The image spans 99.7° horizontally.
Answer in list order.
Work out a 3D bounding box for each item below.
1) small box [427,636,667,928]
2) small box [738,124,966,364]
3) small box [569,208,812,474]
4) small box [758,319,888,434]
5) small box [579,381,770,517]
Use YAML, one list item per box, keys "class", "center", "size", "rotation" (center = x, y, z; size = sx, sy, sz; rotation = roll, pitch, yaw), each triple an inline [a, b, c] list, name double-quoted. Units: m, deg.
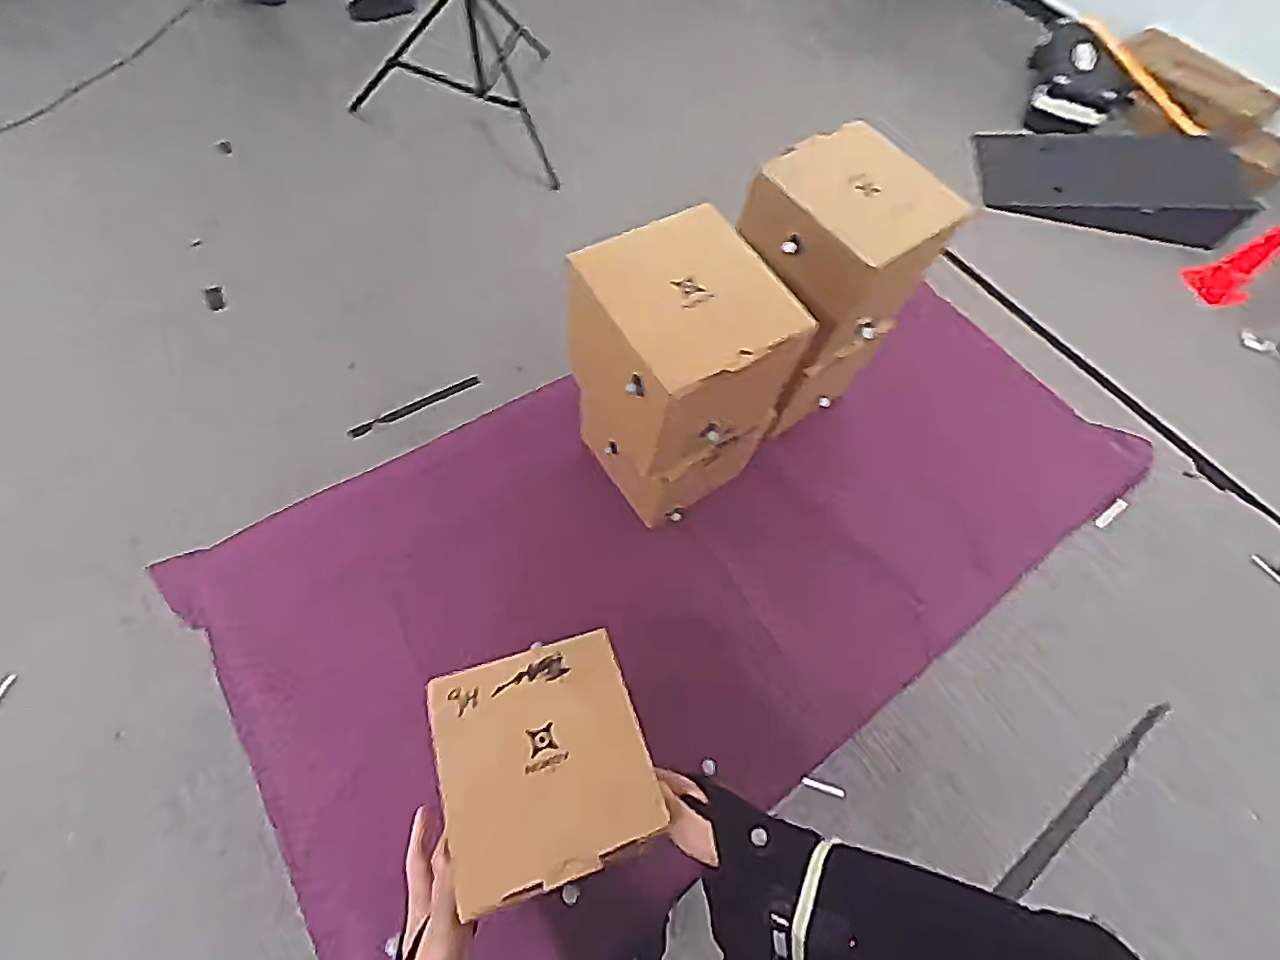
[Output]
- class: "small box"
  center: [-0.089, 0.278, 0.508]
  size: [0.168, 0.176, 0.179]
  rotation: [-13, 55, -18]
- class: "small box"
  center: [0.227, -0.275, 0.650]
  size: [0.168, 0.176, 0.179]
  rotation: [-34, 74, -18]
- class: "small box"
  center: [0.036, -0.137, 0.564]
  size: [0.168, 0.176, 0.179]
  rotation: [-29, 72, -18]
- class: "small box"
  center: [0.210, -0.200, 0.793]
  size: [0.168, 0.176, 0.179]
  rotation: [-31, 72, -18]
- class: "small box"
  center: [0.035, -0.071, 0.713]
  size: [0.168, 0.176, 0.179]
  rotation: [-31, 71, -19]
